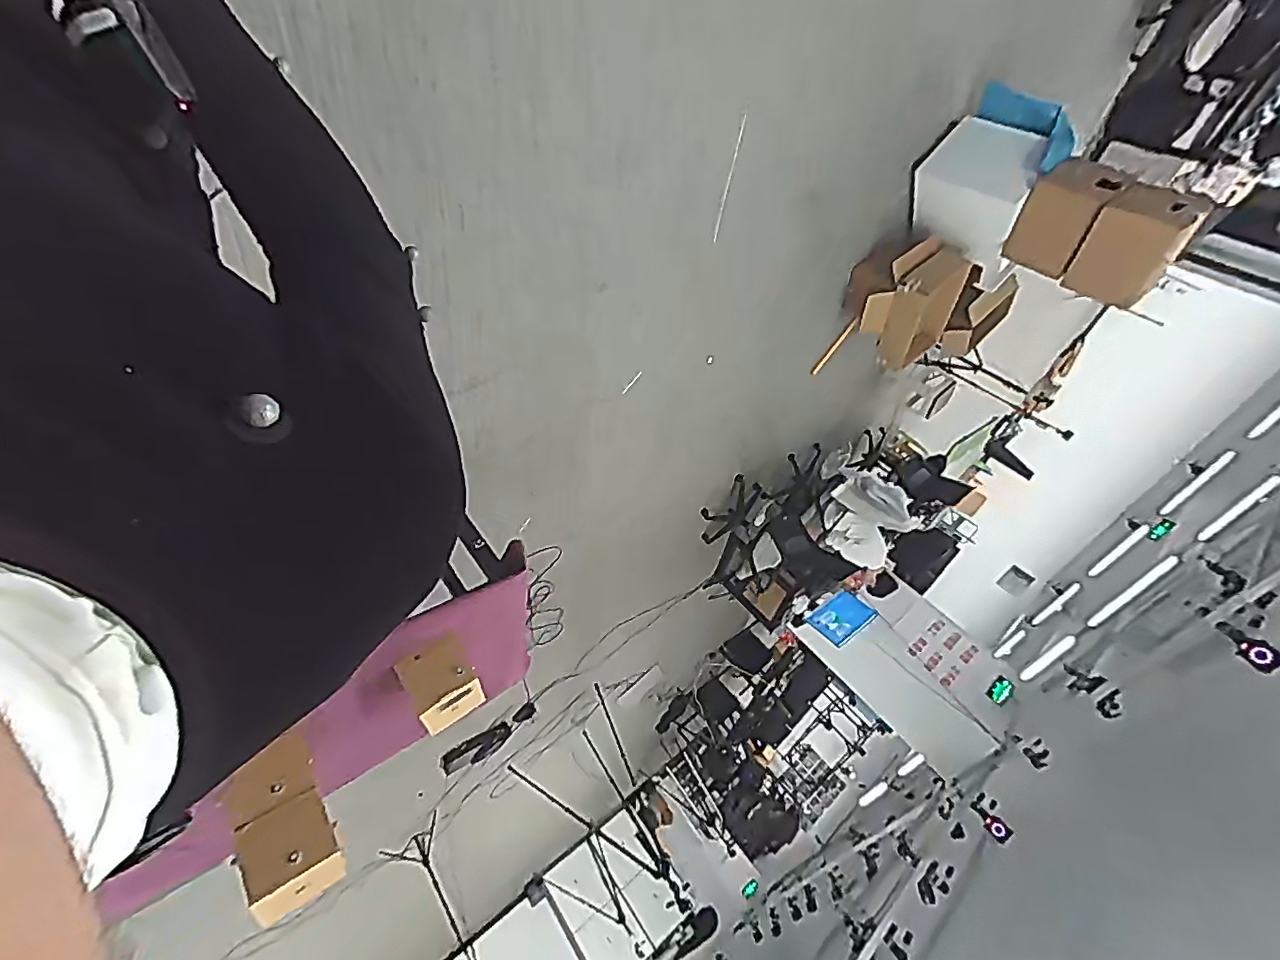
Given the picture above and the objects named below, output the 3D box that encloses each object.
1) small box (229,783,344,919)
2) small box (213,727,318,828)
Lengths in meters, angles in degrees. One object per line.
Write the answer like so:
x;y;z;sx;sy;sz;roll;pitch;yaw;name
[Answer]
-0.809;0.844;1.245;0.179;0.176;0.168;-18;139;-39;small box
-0.912;0.748;1.327;0.179;0.176;0.168;-17;139;-39;small box
